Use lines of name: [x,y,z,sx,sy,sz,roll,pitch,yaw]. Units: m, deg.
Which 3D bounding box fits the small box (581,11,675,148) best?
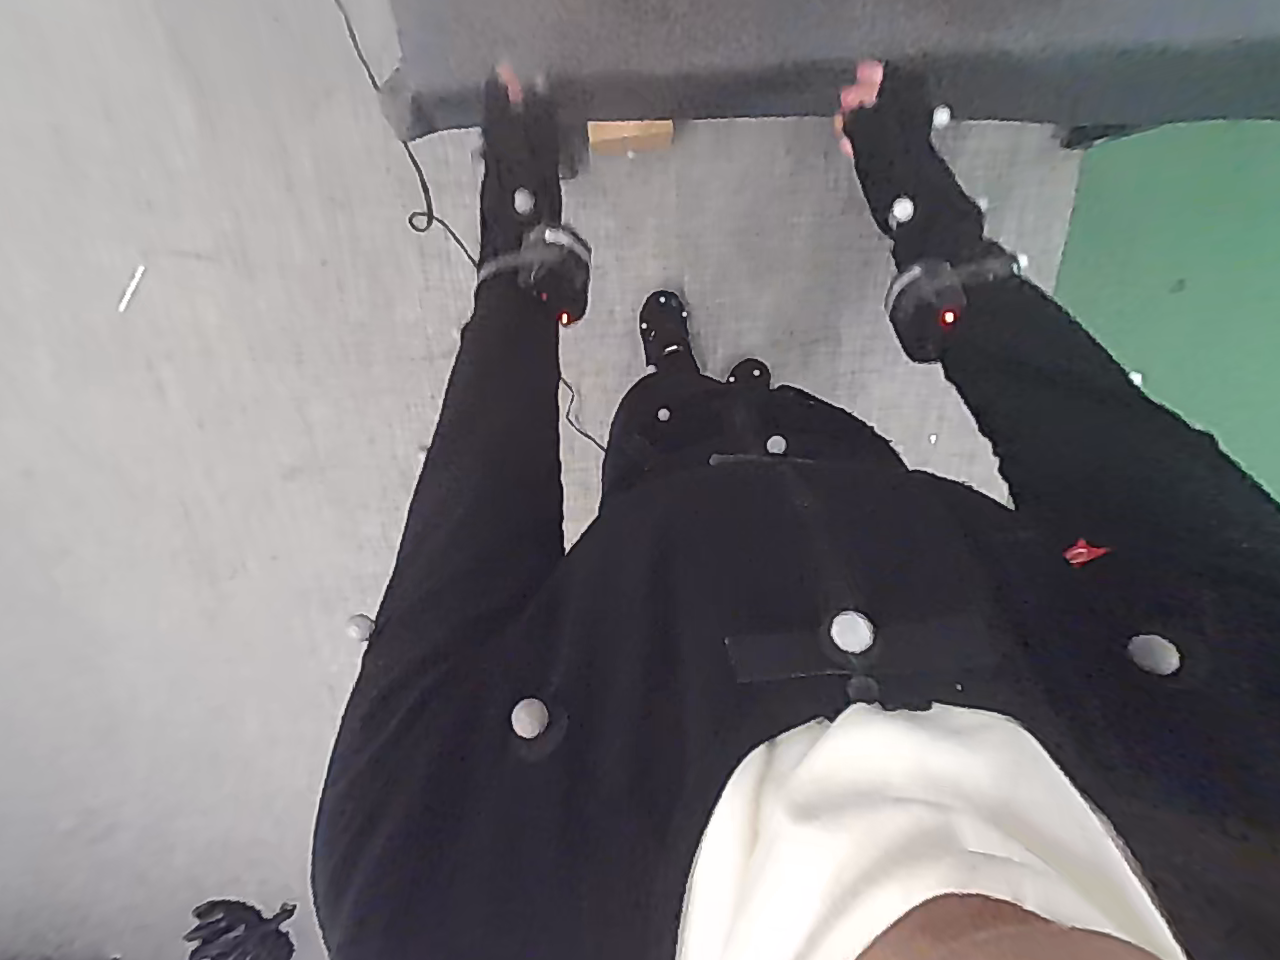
small box: [-0.021,-0.790,1.084,0.168,0.176,0.179,-5,112,3]
